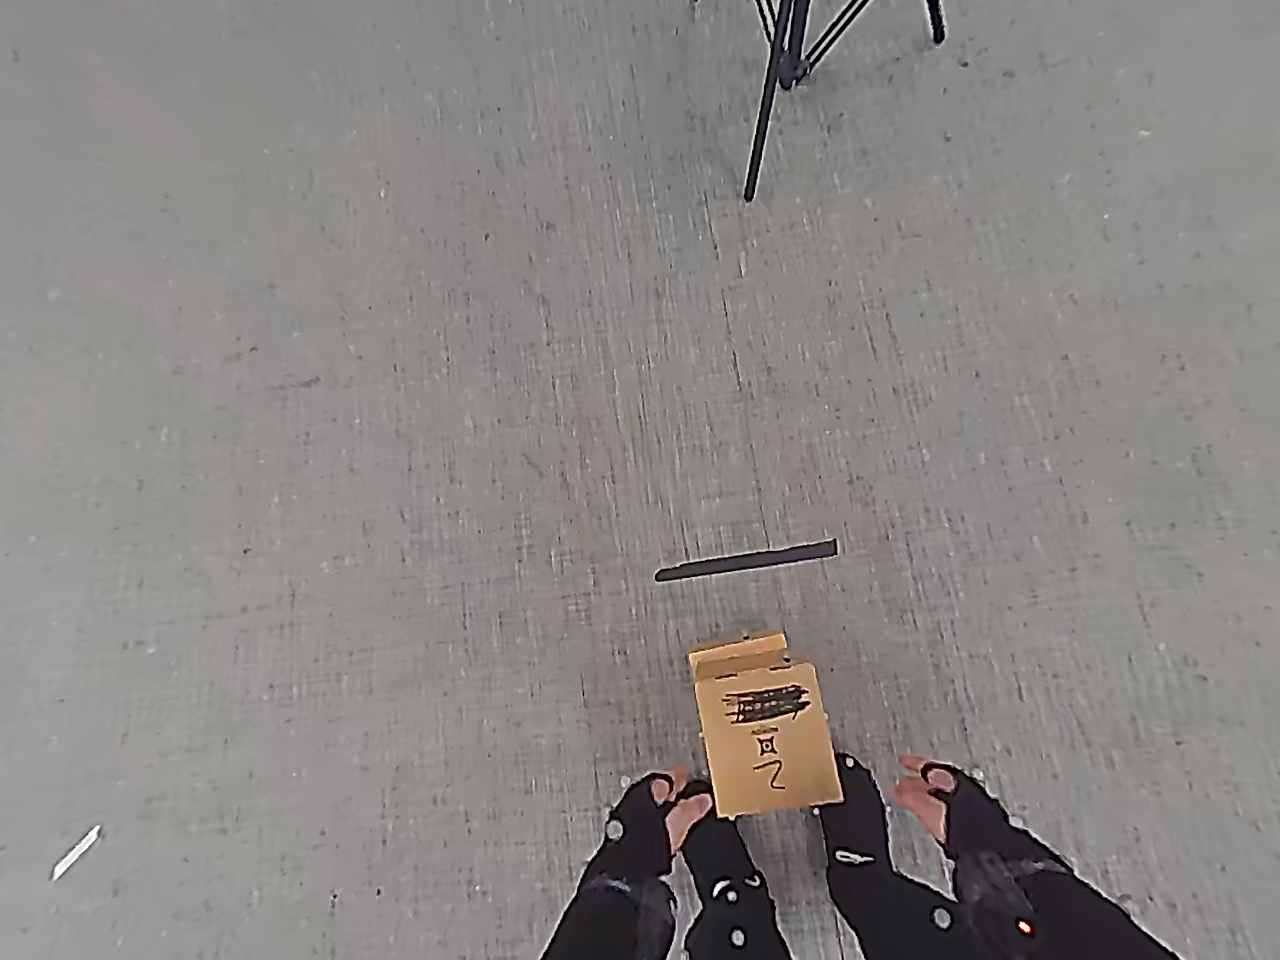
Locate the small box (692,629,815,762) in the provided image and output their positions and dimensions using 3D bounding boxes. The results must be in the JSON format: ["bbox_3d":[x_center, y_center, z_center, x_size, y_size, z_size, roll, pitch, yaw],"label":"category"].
[{"bbox_3d":[0.190,0.366,0.951,0.168,0.176,0.179,-14,77,5],"label":"small box"}]
